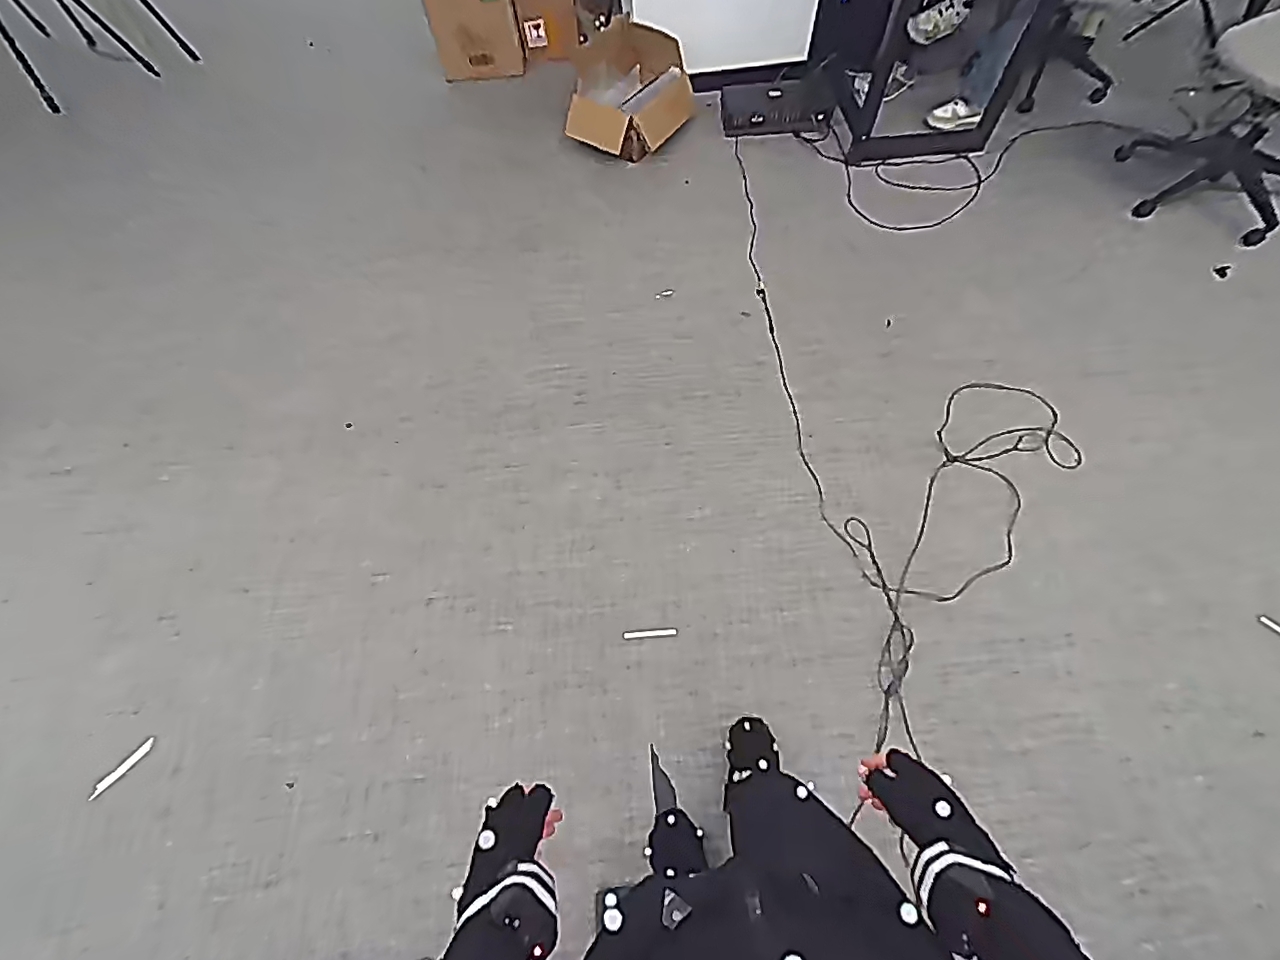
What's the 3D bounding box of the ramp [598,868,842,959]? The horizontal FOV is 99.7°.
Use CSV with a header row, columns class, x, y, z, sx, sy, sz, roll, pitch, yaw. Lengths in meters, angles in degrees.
class,x,y,z,sx,sy,sz,roll,pitch,yaw
ramp,0.192,1.256,0.864,0.509,0.206,0.991,-8,62,0
